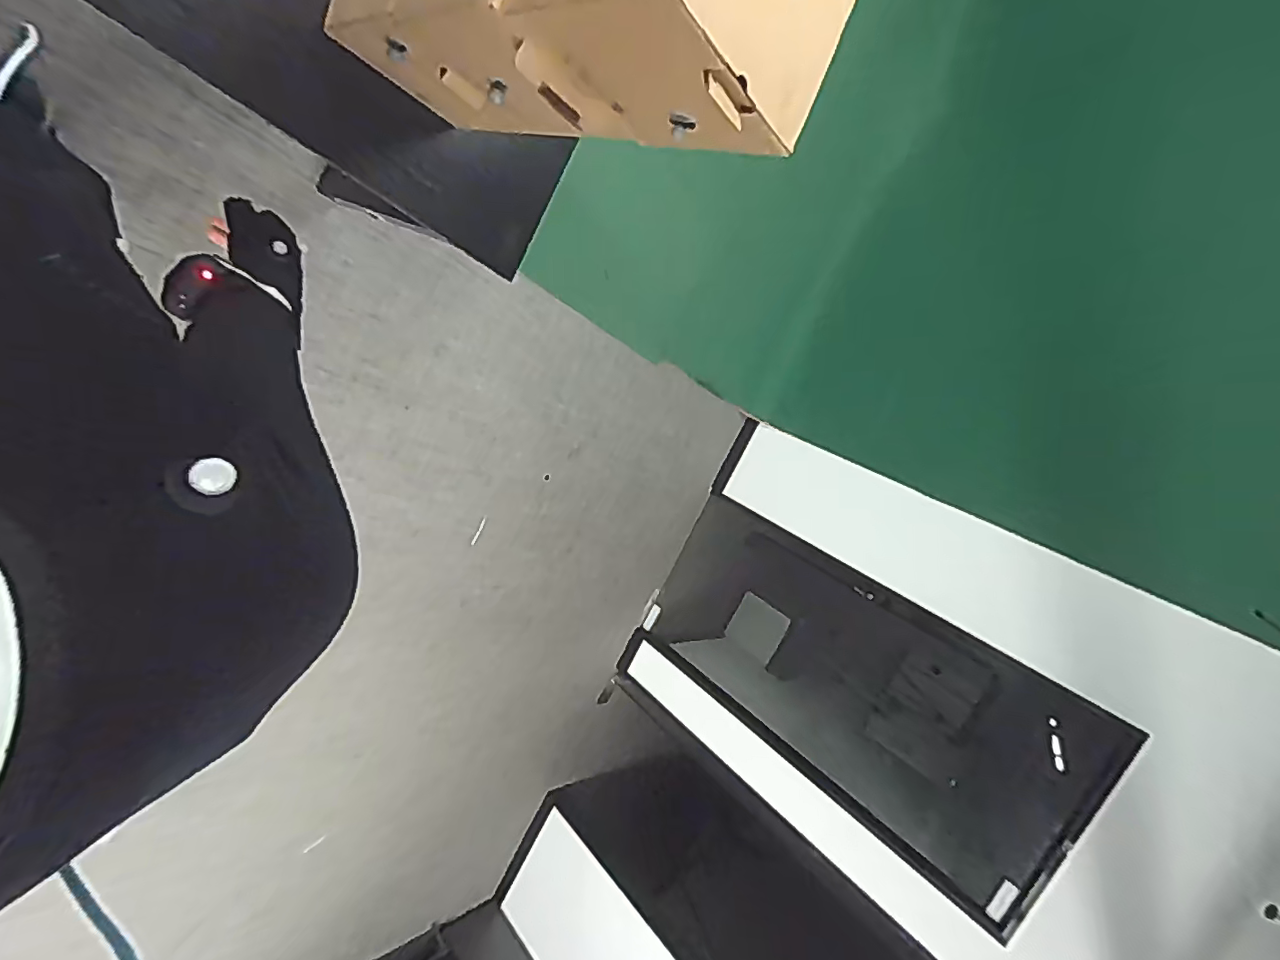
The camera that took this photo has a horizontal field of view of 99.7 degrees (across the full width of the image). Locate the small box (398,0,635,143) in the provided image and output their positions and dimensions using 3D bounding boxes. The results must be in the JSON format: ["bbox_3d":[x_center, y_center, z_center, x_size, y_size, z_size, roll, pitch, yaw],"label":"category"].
[{"bbox_3d":[-0.083,-0.432,0.471,0.168,0.176,0.179,7,110,-52],"label":"small box"}]
